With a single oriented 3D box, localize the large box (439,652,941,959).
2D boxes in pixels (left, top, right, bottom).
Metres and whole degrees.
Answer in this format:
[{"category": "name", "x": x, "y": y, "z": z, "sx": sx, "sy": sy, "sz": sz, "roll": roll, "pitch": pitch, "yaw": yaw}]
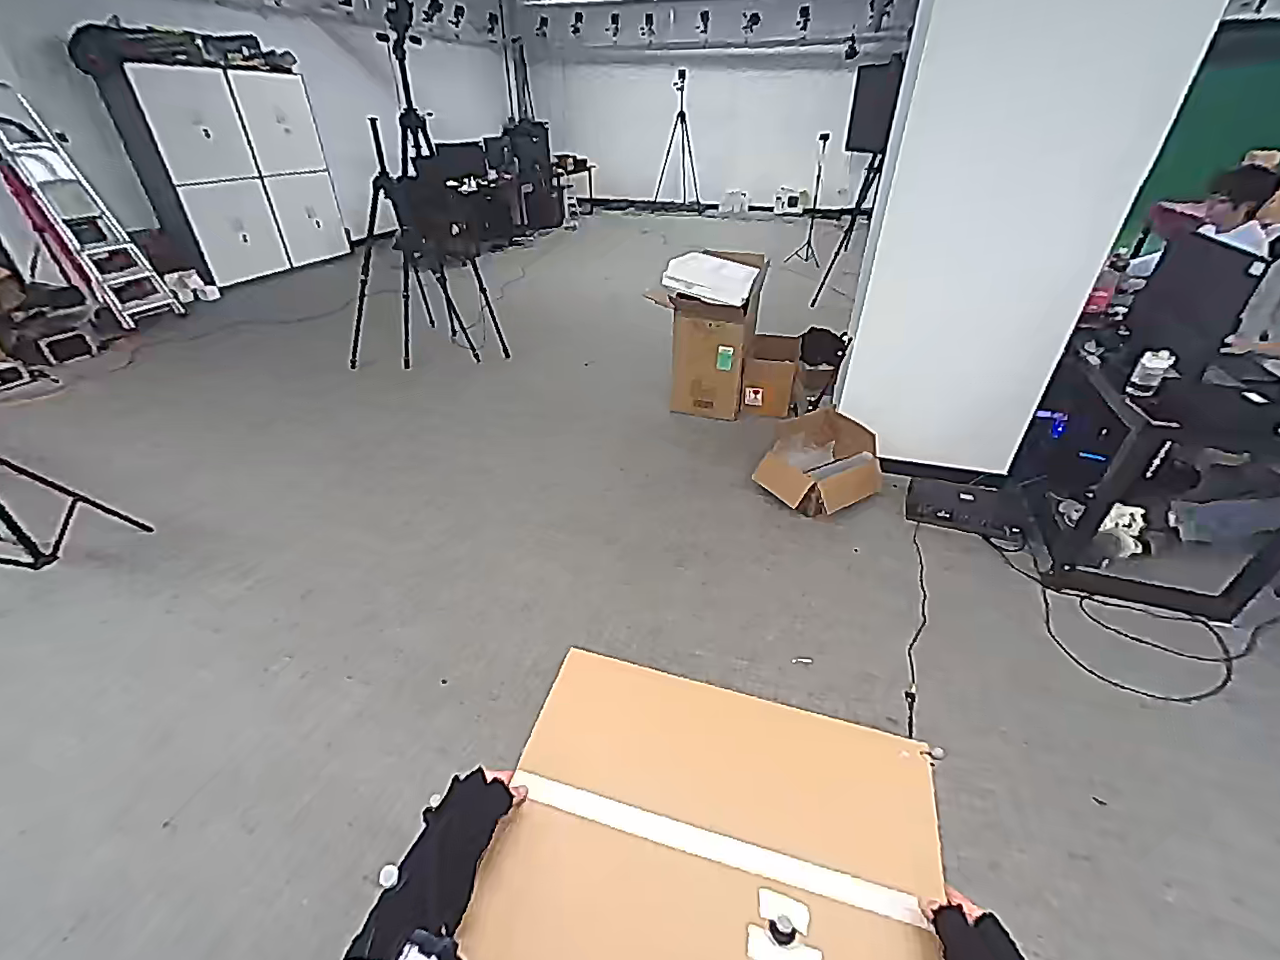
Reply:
[{"category": "large box", "x": 0.060, "y": 0.450, "z": 0.600, "sx": 0.408, "sy": 0.320, "sz": 0.320, "roll": 12, "pitch": 42, "yaw": 12}]
